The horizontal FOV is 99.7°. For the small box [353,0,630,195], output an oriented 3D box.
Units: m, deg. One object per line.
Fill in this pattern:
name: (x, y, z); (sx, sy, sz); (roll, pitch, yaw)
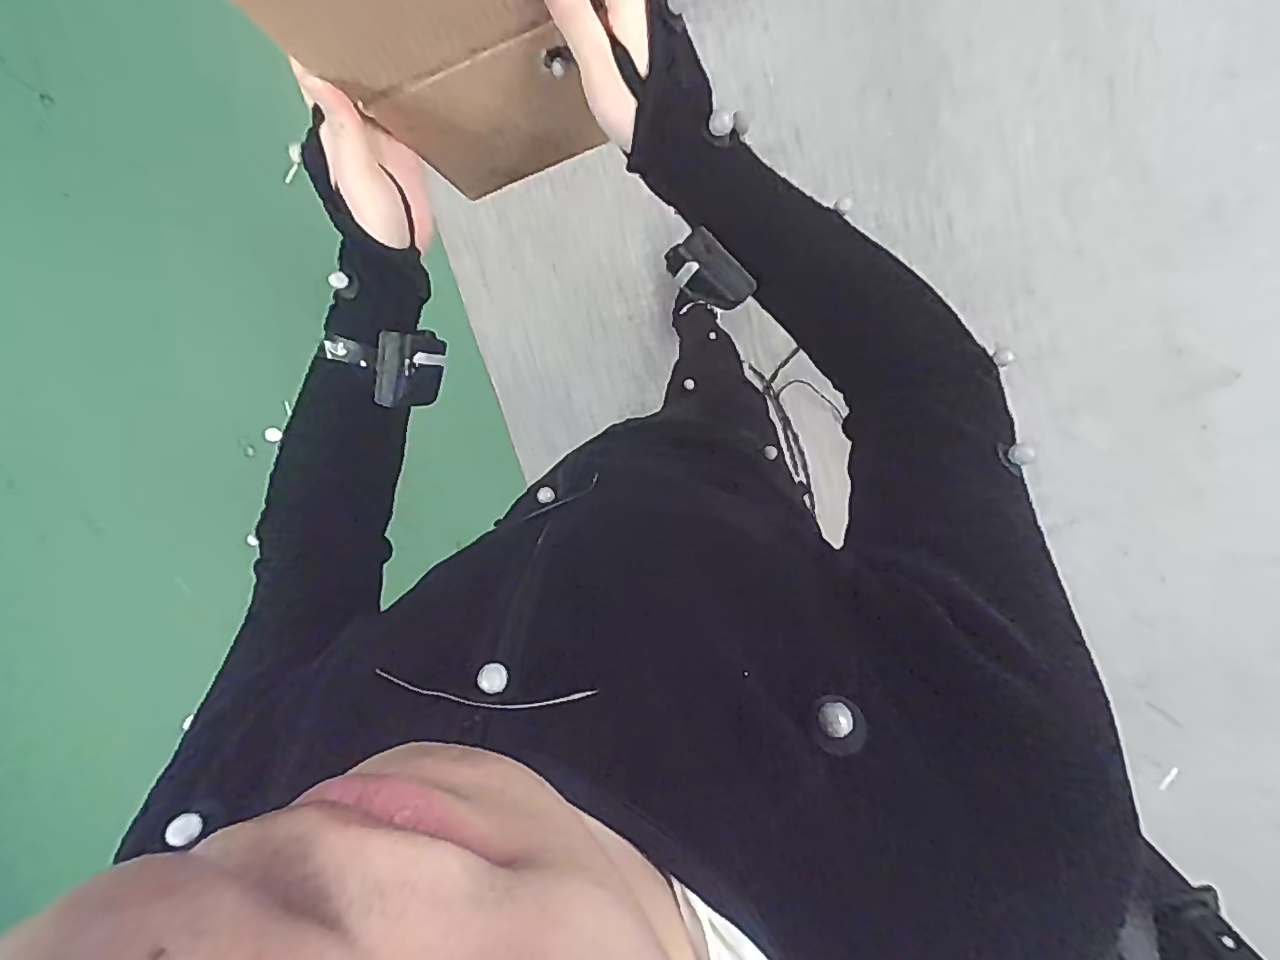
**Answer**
small box: (-0.121, -0.358, 0.420); (0.179, 0.176, 0.168); (-19, 94, 8)

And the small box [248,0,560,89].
small box: (-0.142, -0.335, 0.253); (0.179, 0.176, 0.168); (-19, 96, 6)
